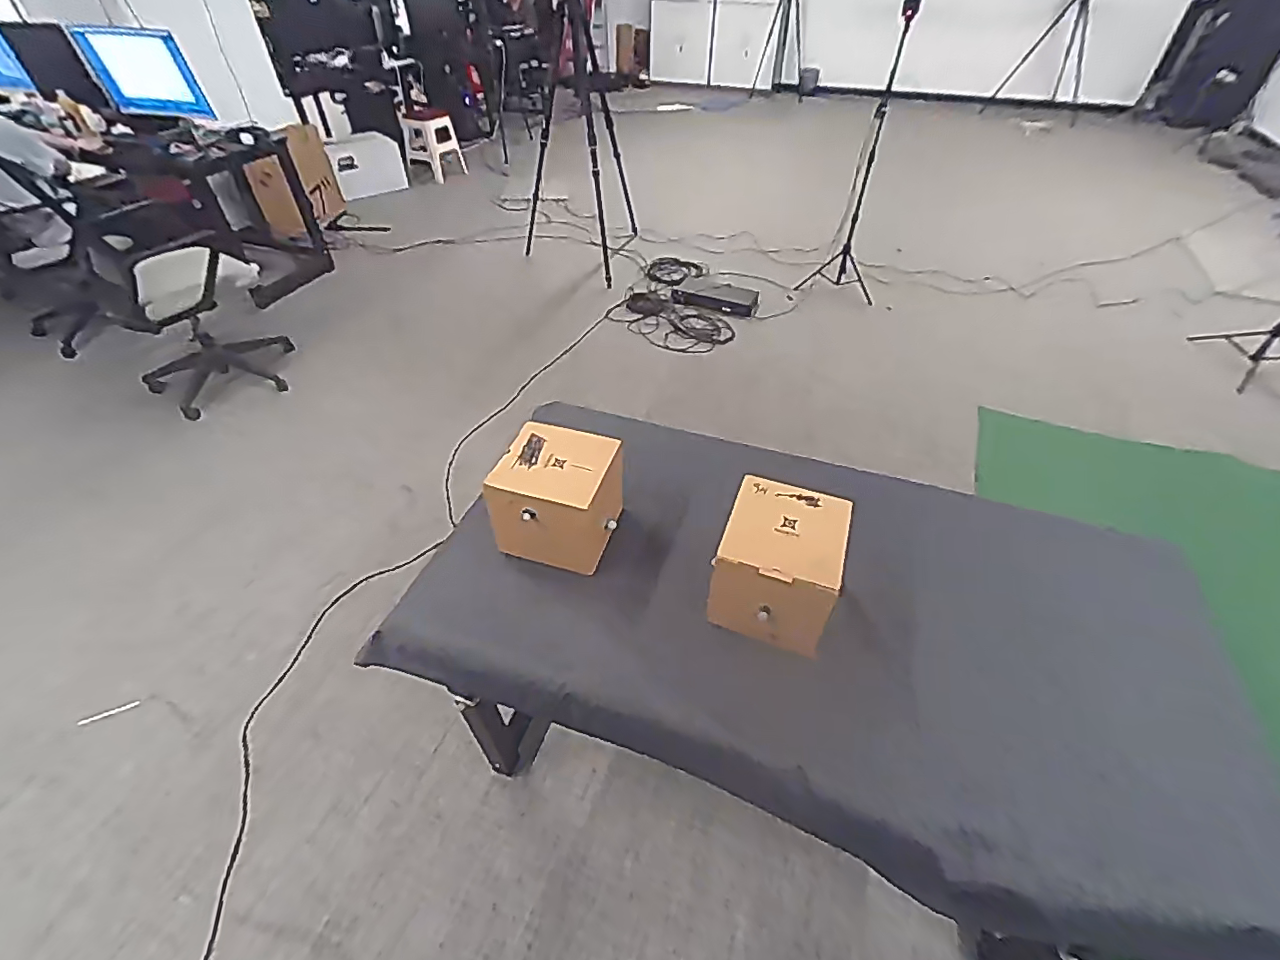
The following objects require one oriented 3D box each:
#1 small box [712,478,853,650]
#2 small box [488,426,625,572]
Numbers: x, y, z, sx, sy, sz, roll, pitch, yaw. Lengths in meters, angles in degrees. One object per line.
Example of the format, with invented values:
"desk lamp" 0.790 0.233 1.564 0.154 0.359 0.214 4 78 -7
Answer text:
"small box" 0.213 0.130 0.830 0.168 0.176 0.179 15 47 15
"small box" -0.132 0.034 0.926 0.179 0.176 0.168 13 46 11
